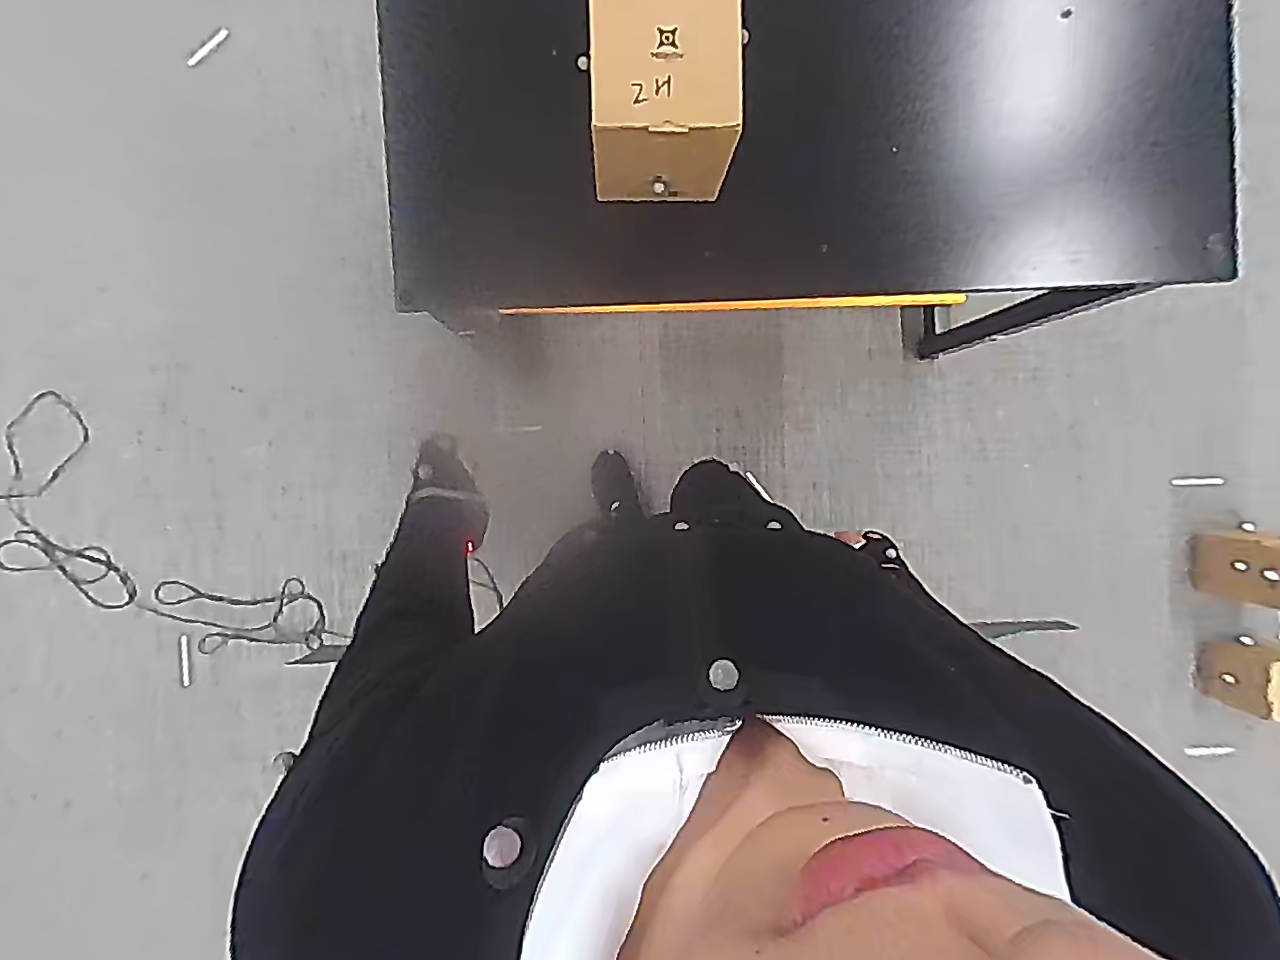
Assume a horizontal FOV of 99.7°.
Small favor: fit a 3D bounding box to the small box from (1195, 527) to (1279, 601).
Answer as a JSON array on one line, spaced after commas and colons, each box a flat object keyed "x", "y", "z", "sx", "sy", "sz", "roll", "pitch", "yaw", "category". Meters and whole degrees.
[{"x": 1.691, "y": 0.224, "z": 1.489, "sx": 0.168, "sy": 0.176, "sz": 0.179, "roll": -4, "pitch": 93, "yaw": -2, "category": "small box"}]

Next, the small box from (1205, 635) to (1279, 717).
[{"x": 1.741, "y": 0.540, "z": 1.506, "sx": 0.179, "sy": 0.176, "sz": 0.168, "roll": -2, "pitch": 92, "yaw": -1, "category": "small box"}]

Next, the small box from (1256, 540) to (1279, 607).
[{"x": 1.695, "y": 0.235, "z": 1.327, "sx": 0.179, "sy": 0.176, "sz": 0.168, "roll": -6, "pitch": 91, "yaw": -1, "category": "small box"}]

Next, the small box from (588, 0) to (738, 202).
[{"x": 0.021, "y": -0.473, "z": 0.667, "sx": 0.168, "sy": 0.176, "sz": 0.179, "roll": -1, "pitch": 92, "yaw": -2, "category": "small box"}]
